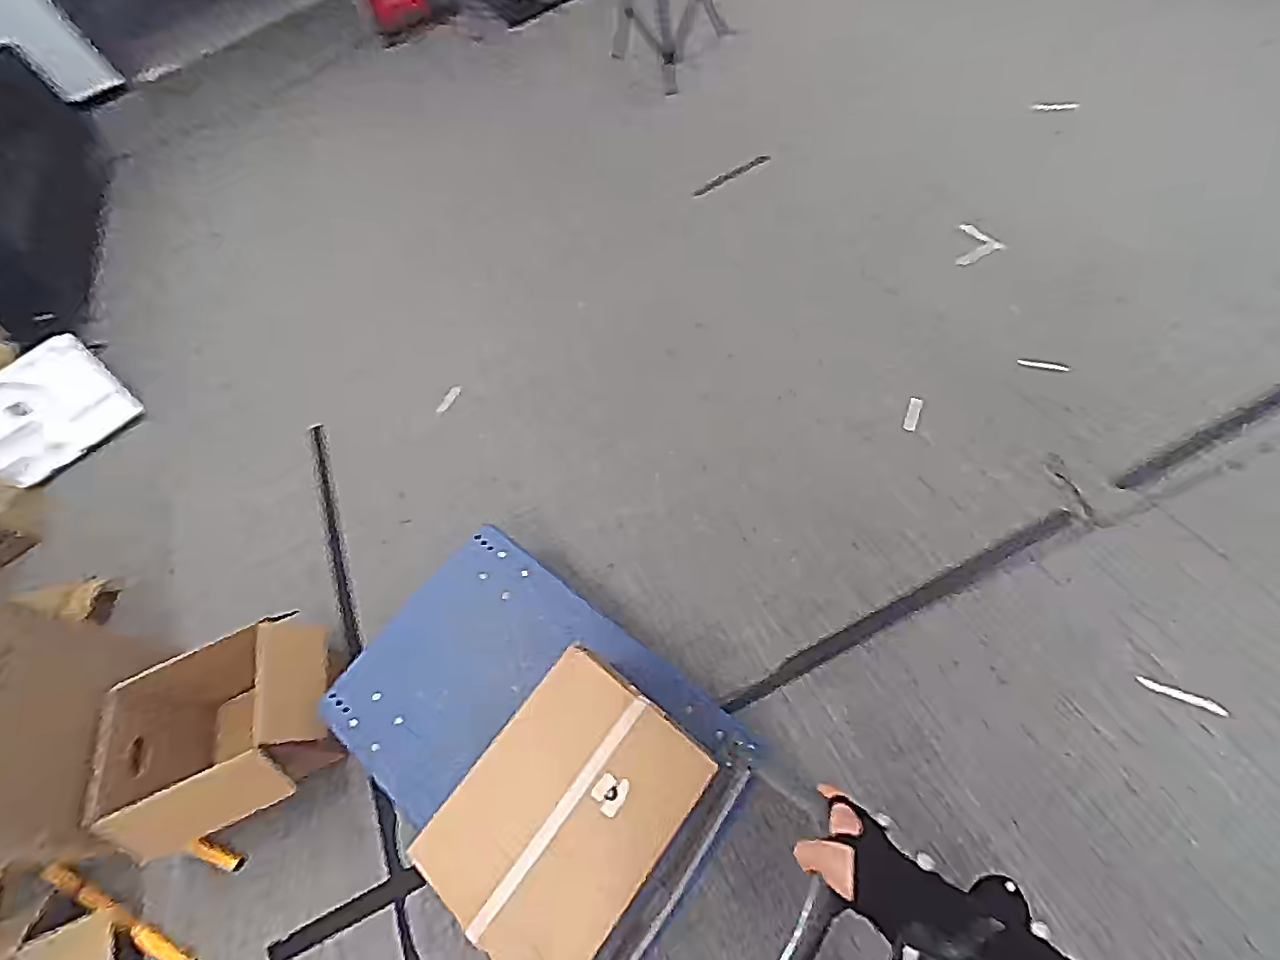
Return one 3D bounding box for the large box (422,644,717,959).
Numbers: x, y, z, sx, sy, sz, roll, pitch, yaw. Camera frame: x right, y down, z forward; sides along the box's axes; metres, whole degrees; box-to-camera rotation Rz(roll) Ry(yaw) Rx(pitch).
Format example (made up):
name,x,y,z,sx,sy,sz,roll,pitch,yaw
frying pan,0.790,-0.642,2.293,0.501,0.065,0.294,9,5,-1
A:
name,x,y,z,sx,sy,sz,roll,pitch,yaw
large box,-0.096,0.581,0.988,0.320,0.320,0.408,34,72,19
